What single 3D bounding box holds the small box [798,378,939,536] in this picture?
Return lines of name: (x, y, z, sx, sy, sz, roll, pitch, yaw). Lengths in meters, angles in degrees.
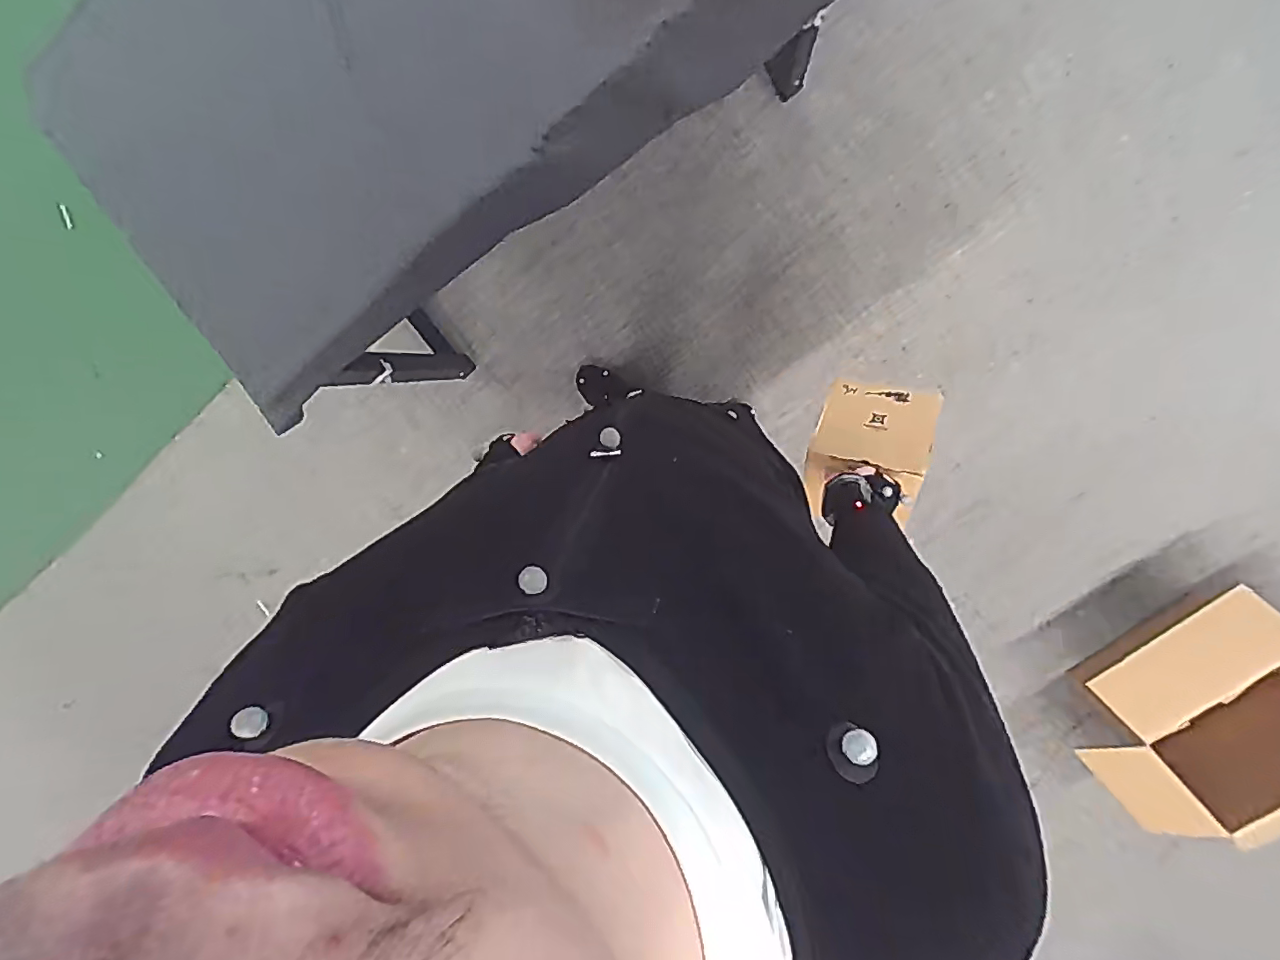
small box: (0.364, -0.035, 0.884, 0.168, 0.179, 0.176, 17, 148, 21)
